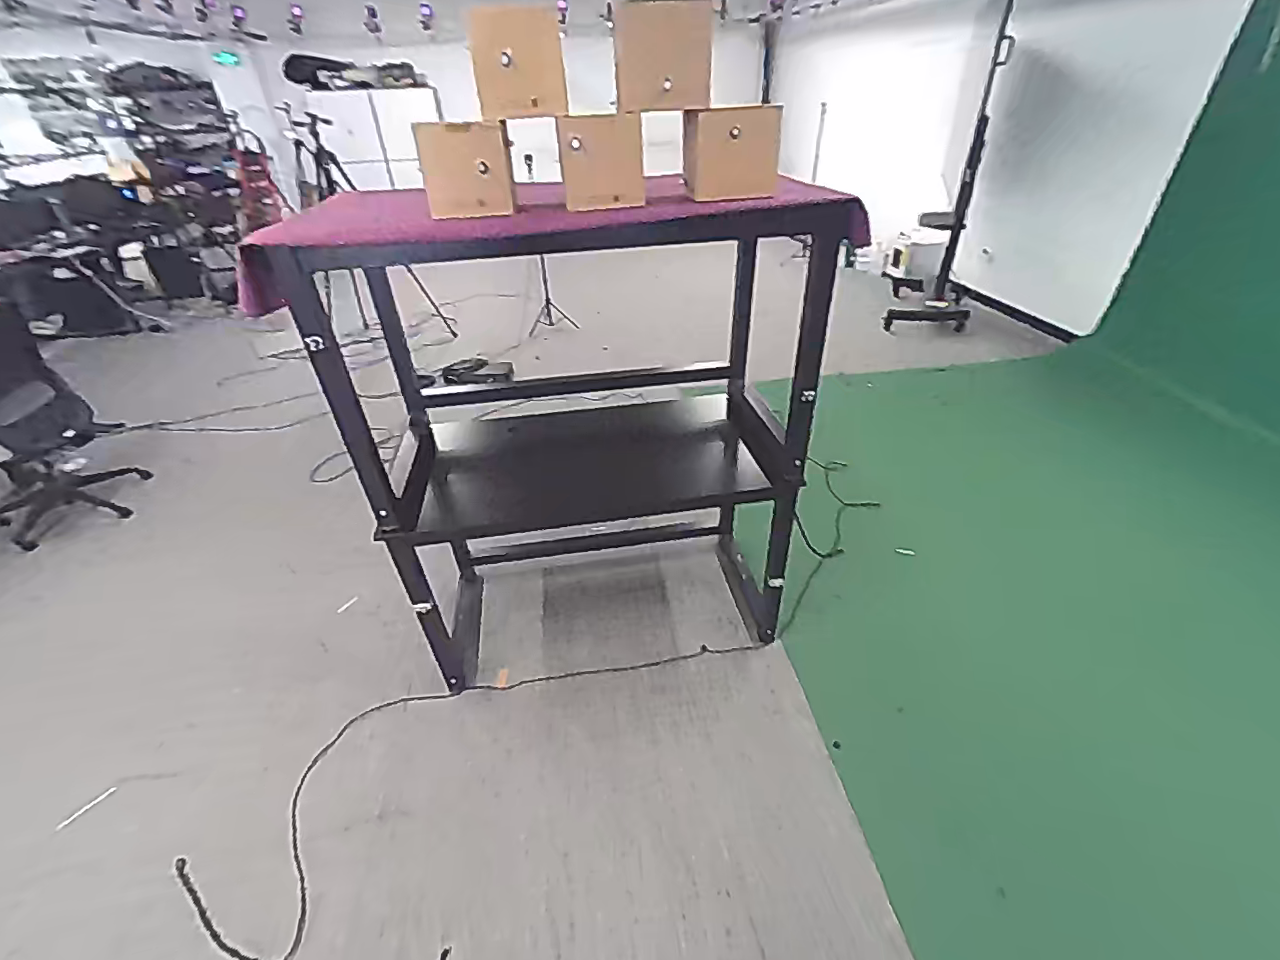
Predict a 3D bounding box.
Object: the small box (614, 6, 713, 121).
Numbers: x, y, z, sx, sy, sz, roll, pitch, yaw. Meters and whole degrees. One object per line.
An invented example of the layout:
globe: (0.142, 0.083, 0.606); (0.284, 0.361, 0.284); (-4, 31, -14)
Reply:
small box: (0.041, -0.829, 1.087); (0.179, 0.176, 0.168); (-5, 34, -5)

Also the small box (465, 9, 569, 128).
small box: (-0.235, -0.802, 1.068); (0.168, 0.176, 0.179); (-8, 34, -5)

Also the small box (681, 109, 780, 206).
small box: (0.192, -0.711, 1.195); (0.179, 0.176, 0.168); (-6, 35, -6)

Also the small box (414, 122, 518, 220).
small box: (-0.353, -0.647, 1.134); (0.168, 0.176, 0.179); (-5, 34, -5)
